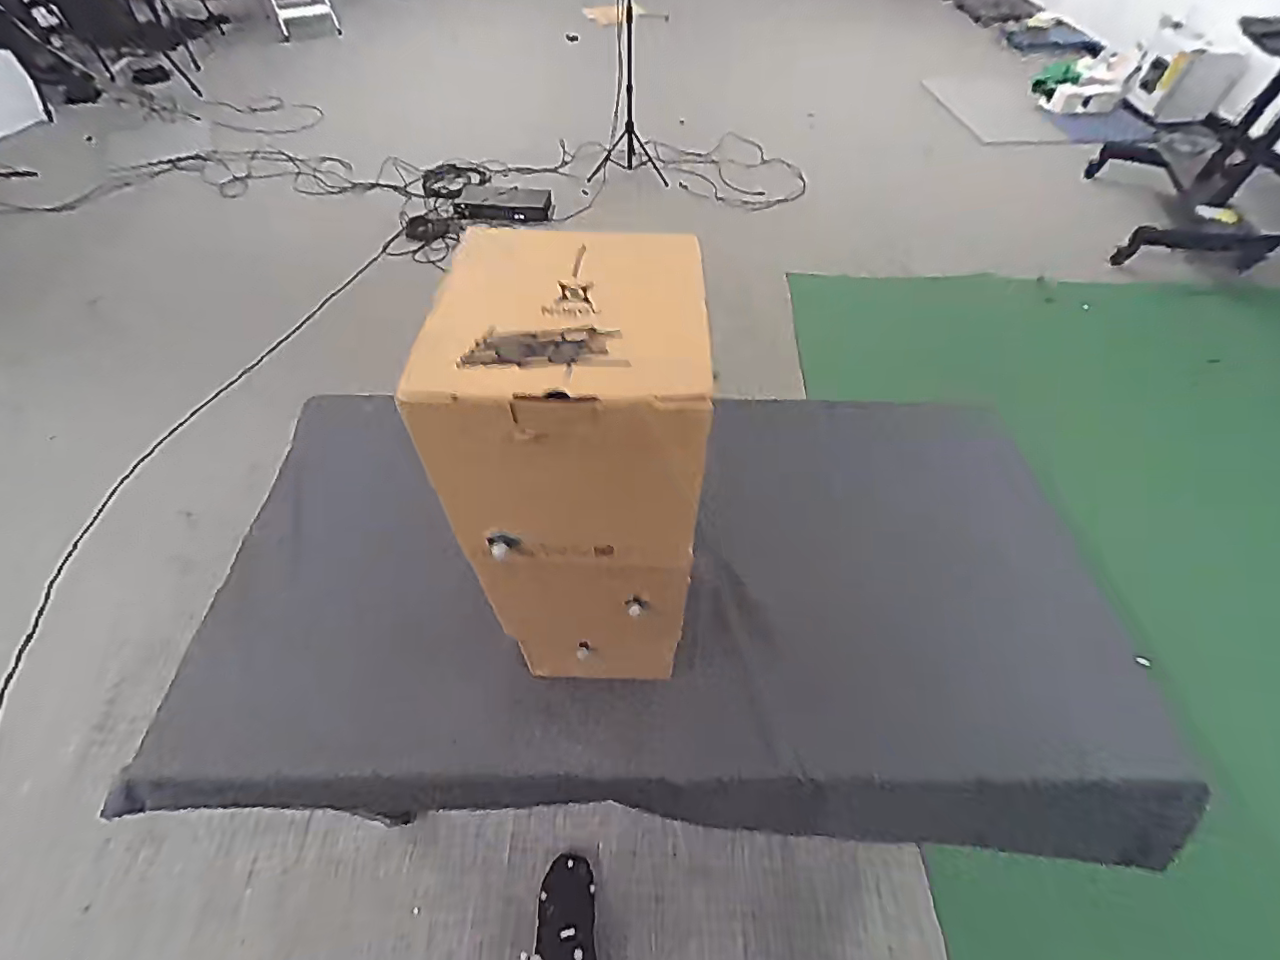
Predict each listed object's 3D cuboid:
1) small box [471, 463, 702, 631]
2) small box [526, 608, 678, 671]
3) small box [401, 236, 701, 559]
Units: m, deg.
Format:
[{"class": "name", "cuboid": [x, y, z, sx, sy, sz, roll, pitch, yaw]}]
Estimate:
[{"class": "small box", "cuboid": [-0.045, 0.035, 0.517, 0.179, 0.176, 0.168, -1, 52, -3]}, {"class": "small box", "cuboid": [-0.048, 0.129, 0.672, 0.179, 0.176, 0.168, 0, 51, -2]}, {"class": "small box", "cuboid": [-0.045, -0.056, 0.400, 0.168, 0.176, 0.179, 2, 51, 0]}]
